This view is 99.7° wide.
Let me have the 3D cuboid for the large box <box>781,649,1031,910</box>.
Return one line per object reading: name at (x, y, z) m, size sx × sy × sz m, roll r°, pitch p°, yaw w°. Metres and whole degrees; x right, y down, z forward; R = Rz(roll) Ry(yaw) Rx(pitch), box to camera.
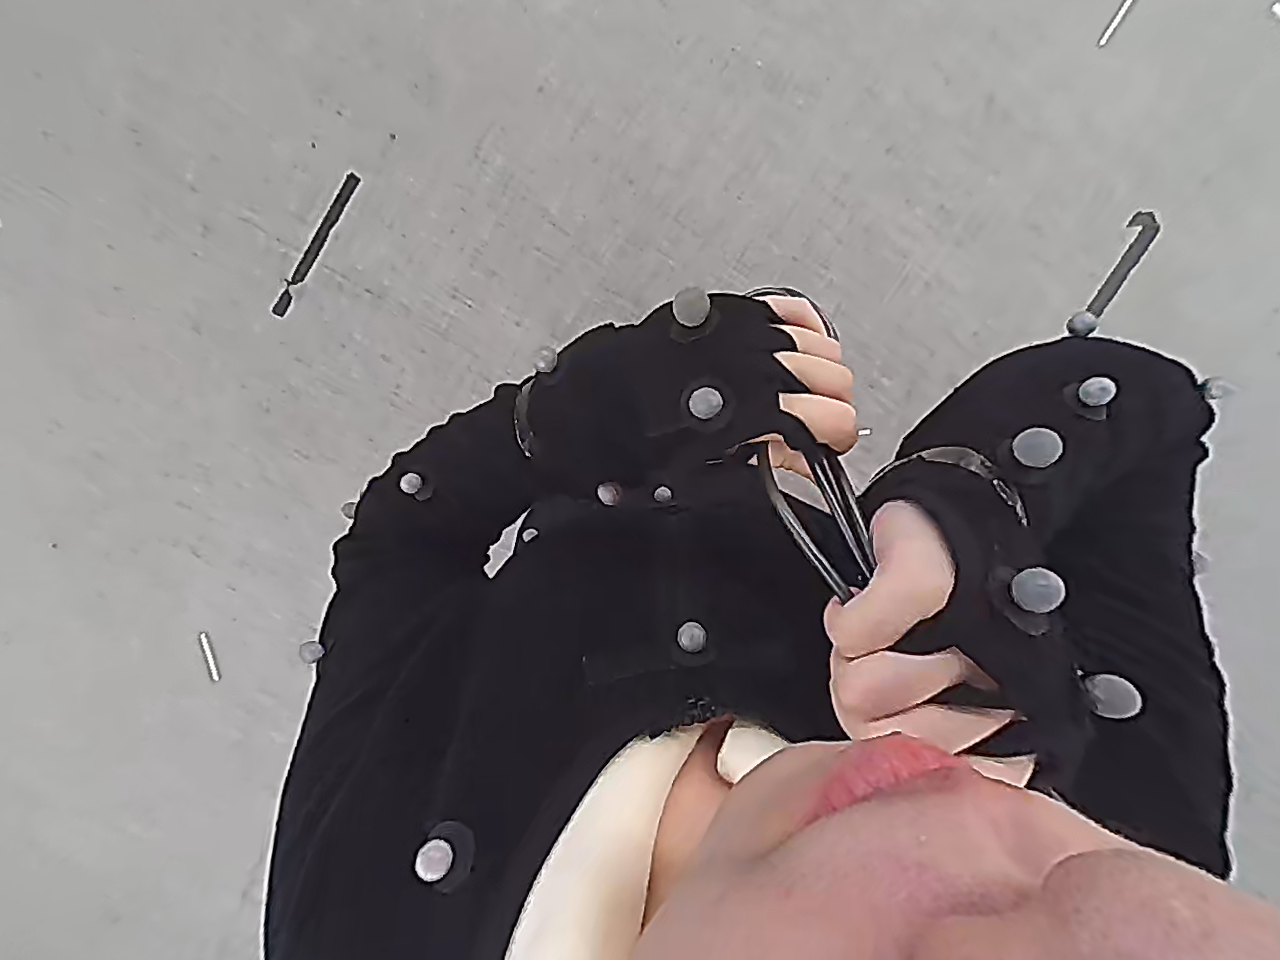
large box at (0.615, 0.703, 1.320) m, size 0.320 × 0.320 × 0.408 m, roll 30°, pitch 96°, yaw -7°
